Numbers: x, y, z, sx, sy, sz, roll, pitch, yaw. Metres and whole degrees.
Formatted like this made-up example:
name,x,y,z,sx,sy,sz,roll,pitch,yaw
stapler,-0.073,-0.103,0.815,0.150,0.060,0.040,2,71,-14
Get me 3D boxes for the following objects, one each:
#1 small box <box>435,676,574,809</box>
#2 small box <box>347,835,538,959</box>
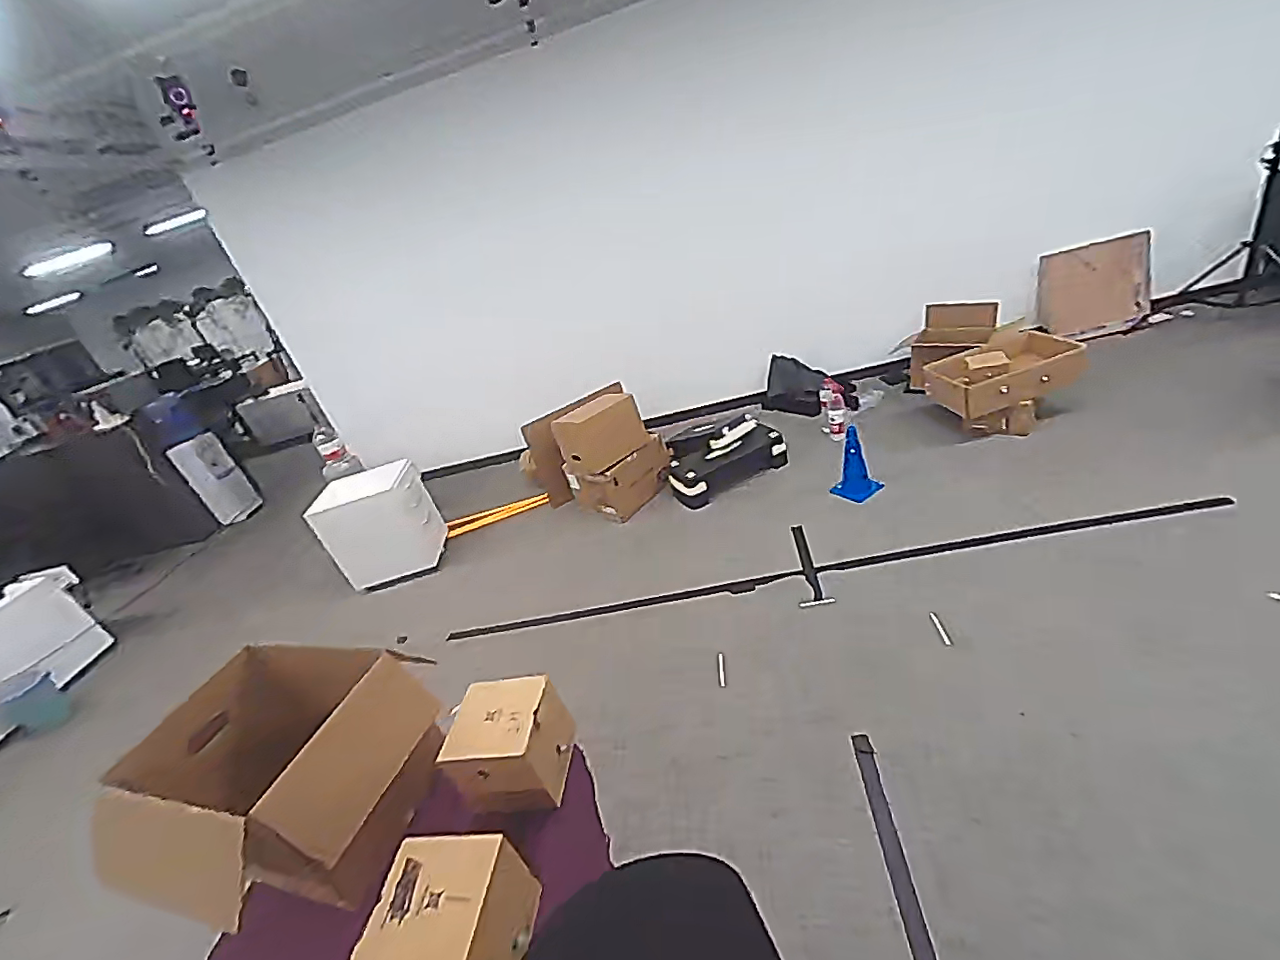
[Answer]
name,x,y,z,sx,sy,sz,roll,pitch,yaw
small box,-0.248,0.503,1.033,0.179,0.176,0.168,-11,30,14
small box,-0.276,0.651,0.791,0.179,0.176,0.168,-10,30,13
